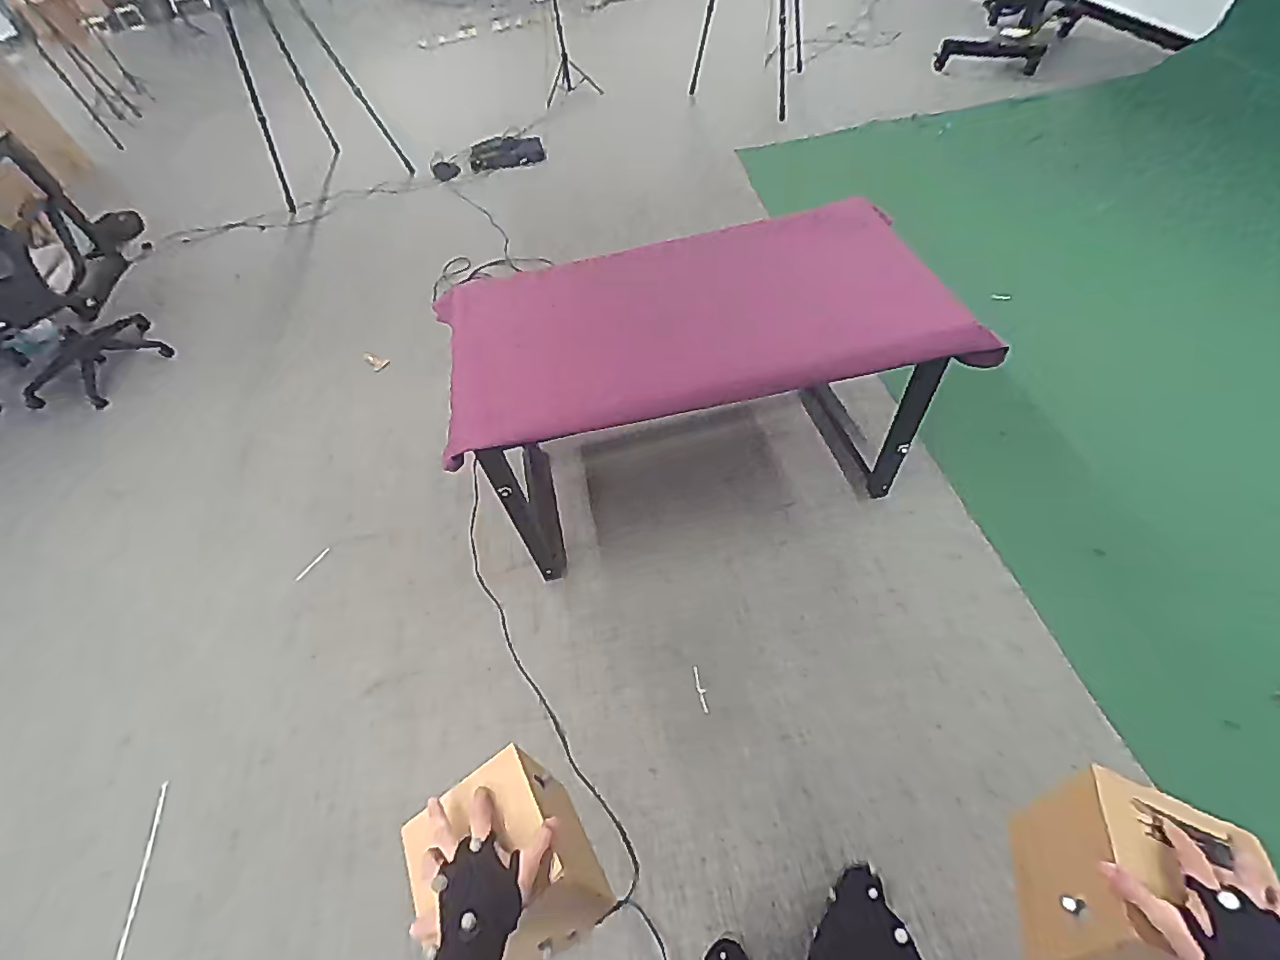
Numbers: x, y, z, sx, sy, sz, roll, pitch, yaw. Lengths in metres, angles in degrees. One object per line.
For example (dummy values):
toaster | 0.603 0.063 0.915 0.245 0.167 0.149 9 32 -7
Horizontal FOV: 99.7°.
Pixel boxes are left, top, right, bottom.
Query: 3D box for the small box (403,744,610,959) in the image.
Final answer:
small box | -0.164 0.483 0.678 0.168 0.176 0.179 -35 40 -12
